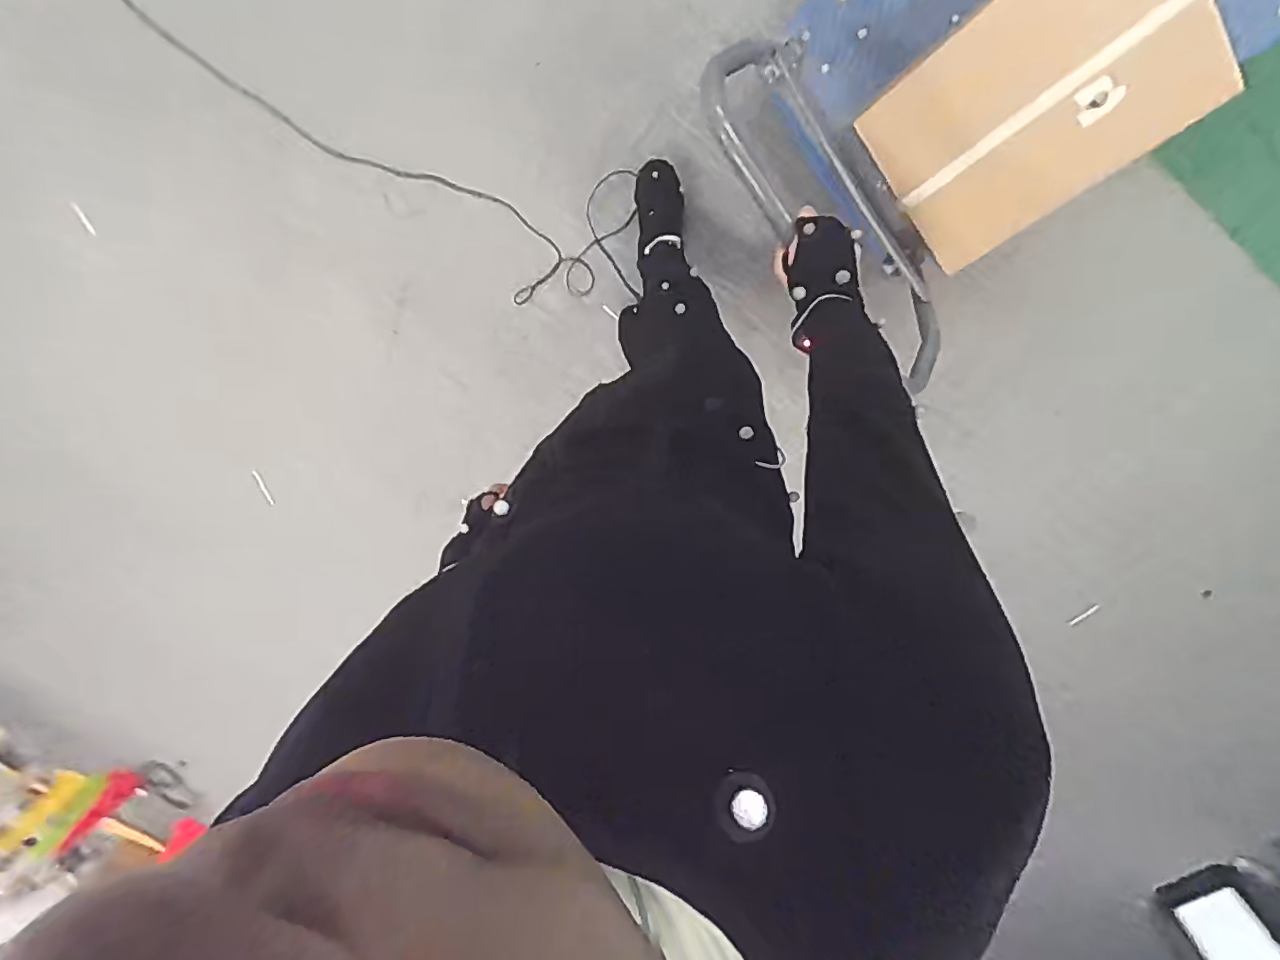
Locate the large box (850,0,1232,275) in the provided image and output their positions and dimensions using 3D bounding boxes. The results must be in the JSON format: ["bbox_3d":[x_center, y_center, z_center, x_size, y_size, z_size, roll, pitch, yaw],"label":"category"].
[{"bbox_3d":[0.634,-0.640,0.945,0.408,0.320,0.320,-32,109,32],"label":"large box"}]
